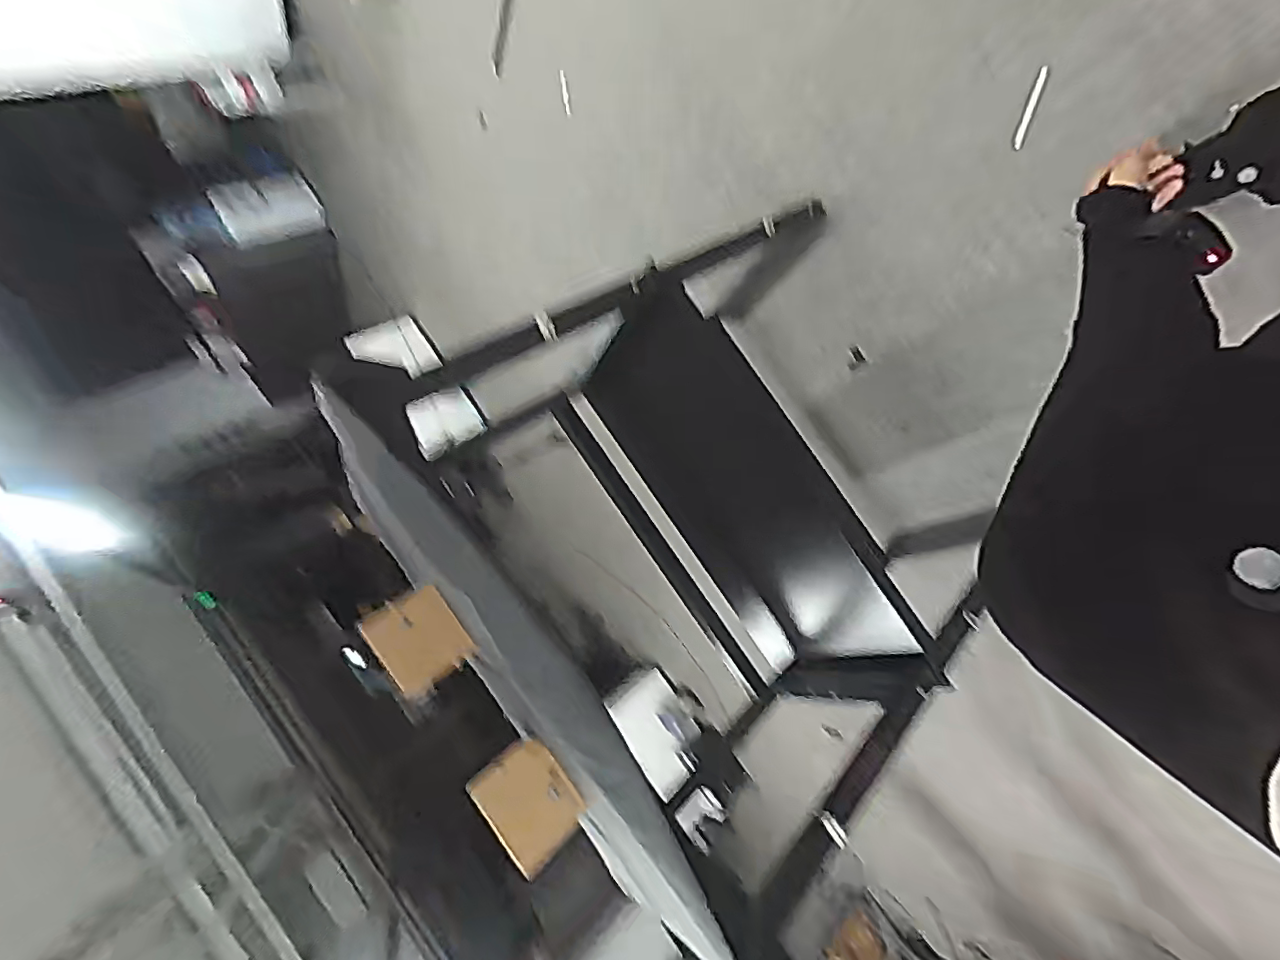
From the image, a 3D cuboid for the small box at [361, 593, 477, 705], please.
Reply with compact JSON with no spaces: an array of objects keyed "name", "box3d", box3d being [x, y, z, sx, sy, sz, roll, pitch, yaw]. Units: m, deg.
[{"name":"small box","box3d":[-0.488,0.365,1.198,0.179,0.176,0.168,56,151,0]}]
